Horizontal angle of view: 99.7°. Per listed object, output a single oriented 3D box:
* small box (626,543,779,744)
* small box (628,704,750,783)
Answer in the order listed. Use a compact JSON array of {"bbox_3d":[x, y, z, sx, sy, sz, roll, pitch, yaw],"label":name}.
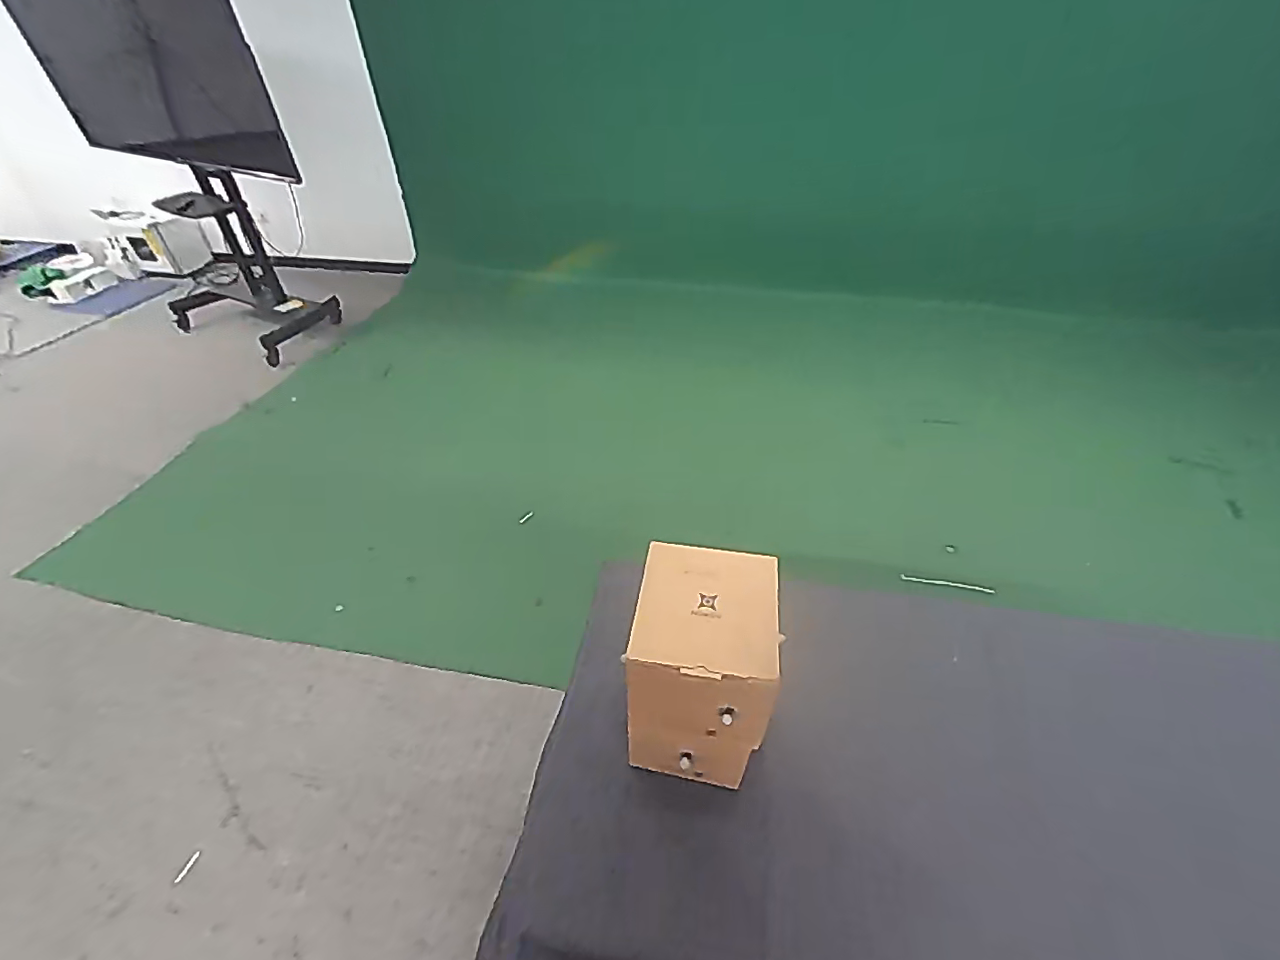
[{"bbox_3d":[0.080,0.208,0.688,0.168,0.176,0.179,7,41,7],"label":"small box"},{"bbox_3d":[0.082,0.321,0.806,0.168,0.176,0.179,8,42,9],"label":"small box"}]
